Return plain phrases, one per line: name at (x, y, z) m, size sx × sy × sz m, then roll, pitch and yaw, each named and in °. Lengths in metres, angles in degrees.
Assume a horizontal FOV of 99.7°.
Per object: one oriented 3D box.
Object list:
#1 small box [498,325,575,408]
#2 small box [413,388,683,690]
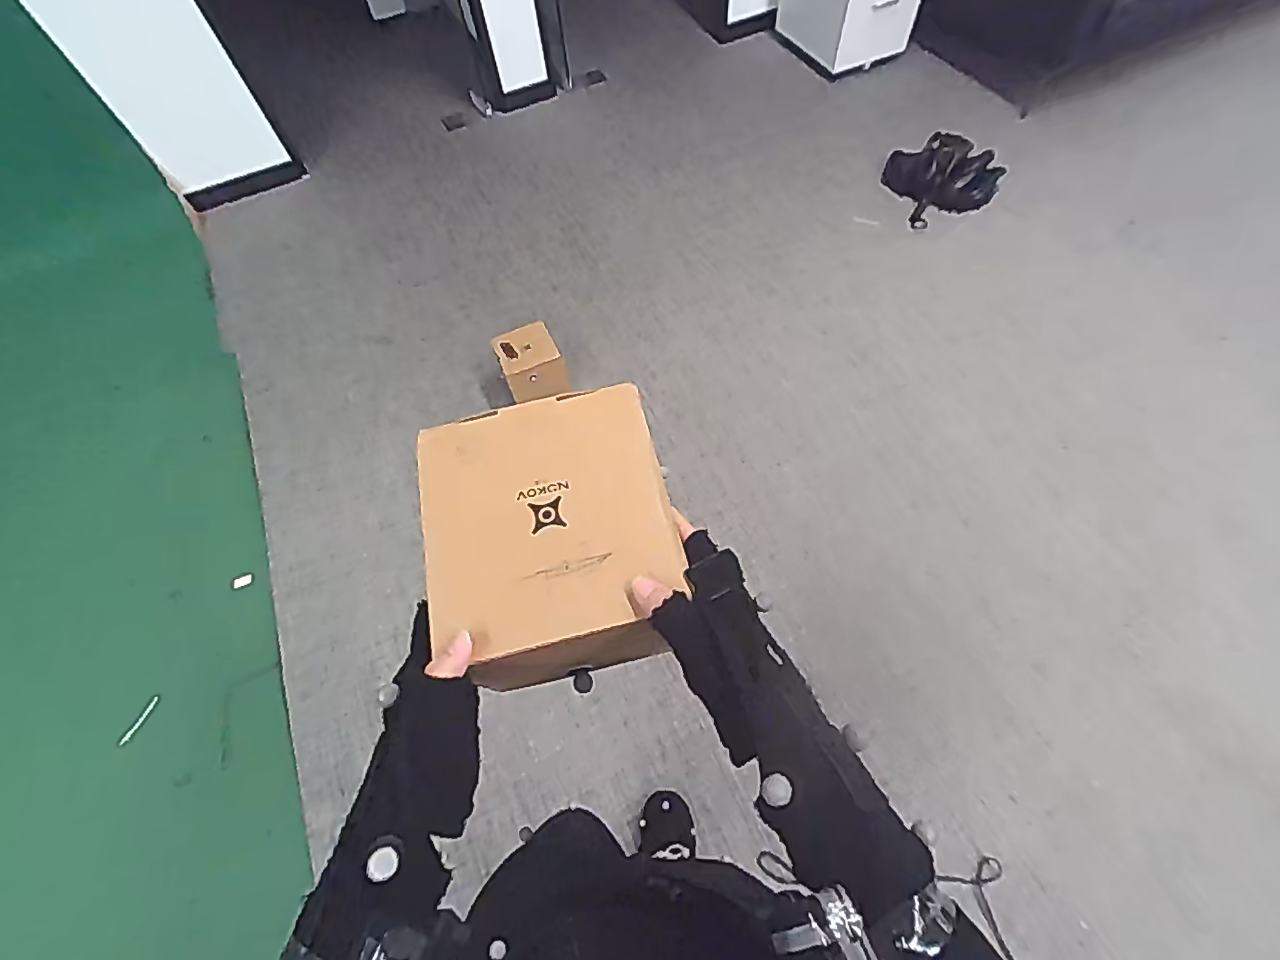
small box at (-0.323, -0.351, 1.706) m, size 0.179 × 0.176 × 0.168 m, roll -23°, pitch 62°, yaw -8°
small box at (-0.067, 0.057, 0.437) m, size 0.168 × 0.176 × 0.179 m, roll -13°, pitch 65°, yaw -3°
